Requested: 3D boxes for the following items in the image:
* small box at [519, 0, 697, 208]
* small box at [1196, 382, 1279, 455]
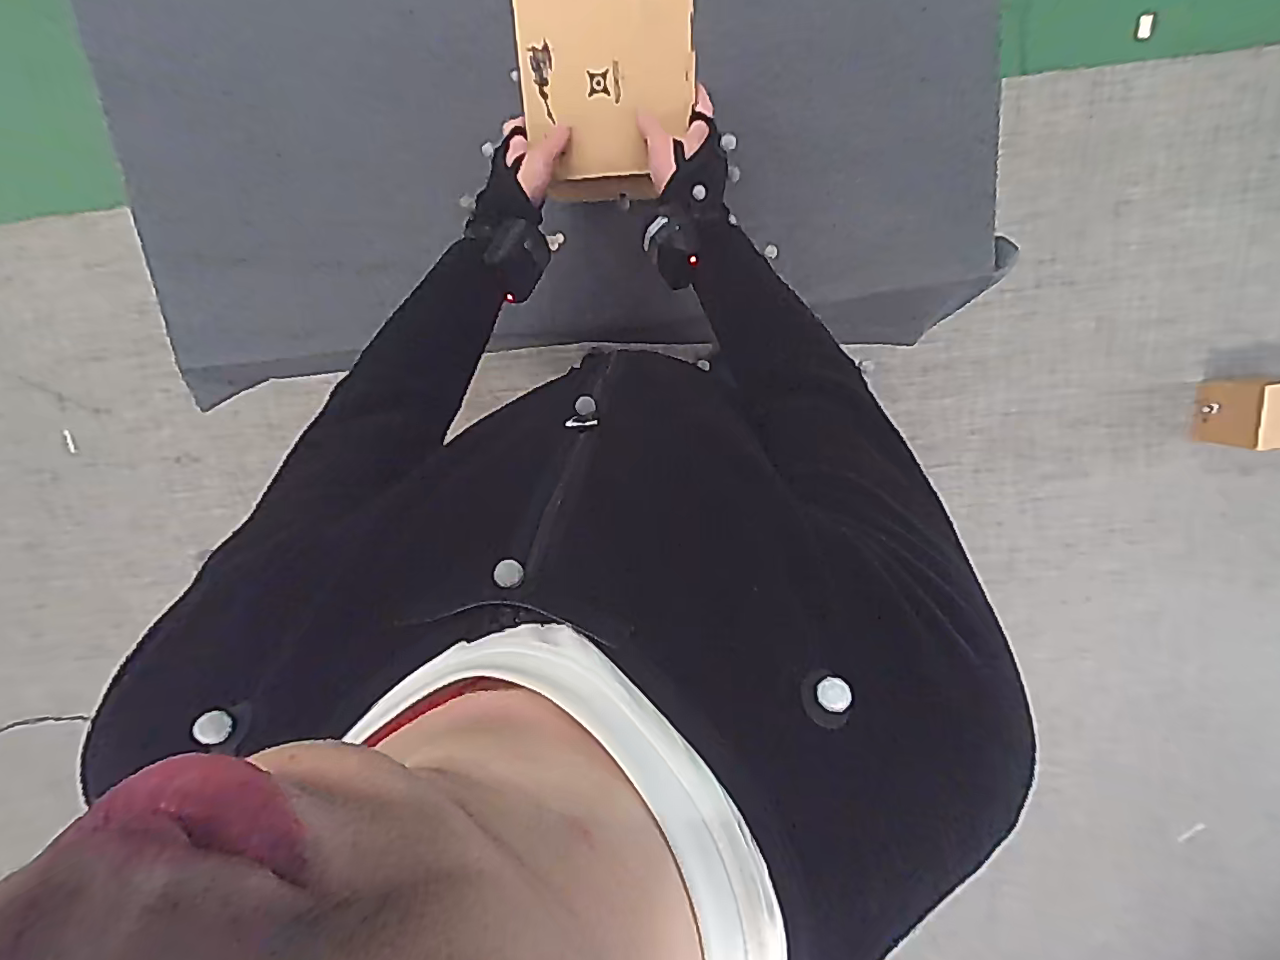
[{"bbox_3d":[-0.028,-0.416,0.622,0.179,0.176,0.168,-1,110,3],"label":"small box"},{"bbox_3d":[1.605,-0.162,1.386,0.179,0.176,0.168,-3,101,3],"label":"small box"}]
